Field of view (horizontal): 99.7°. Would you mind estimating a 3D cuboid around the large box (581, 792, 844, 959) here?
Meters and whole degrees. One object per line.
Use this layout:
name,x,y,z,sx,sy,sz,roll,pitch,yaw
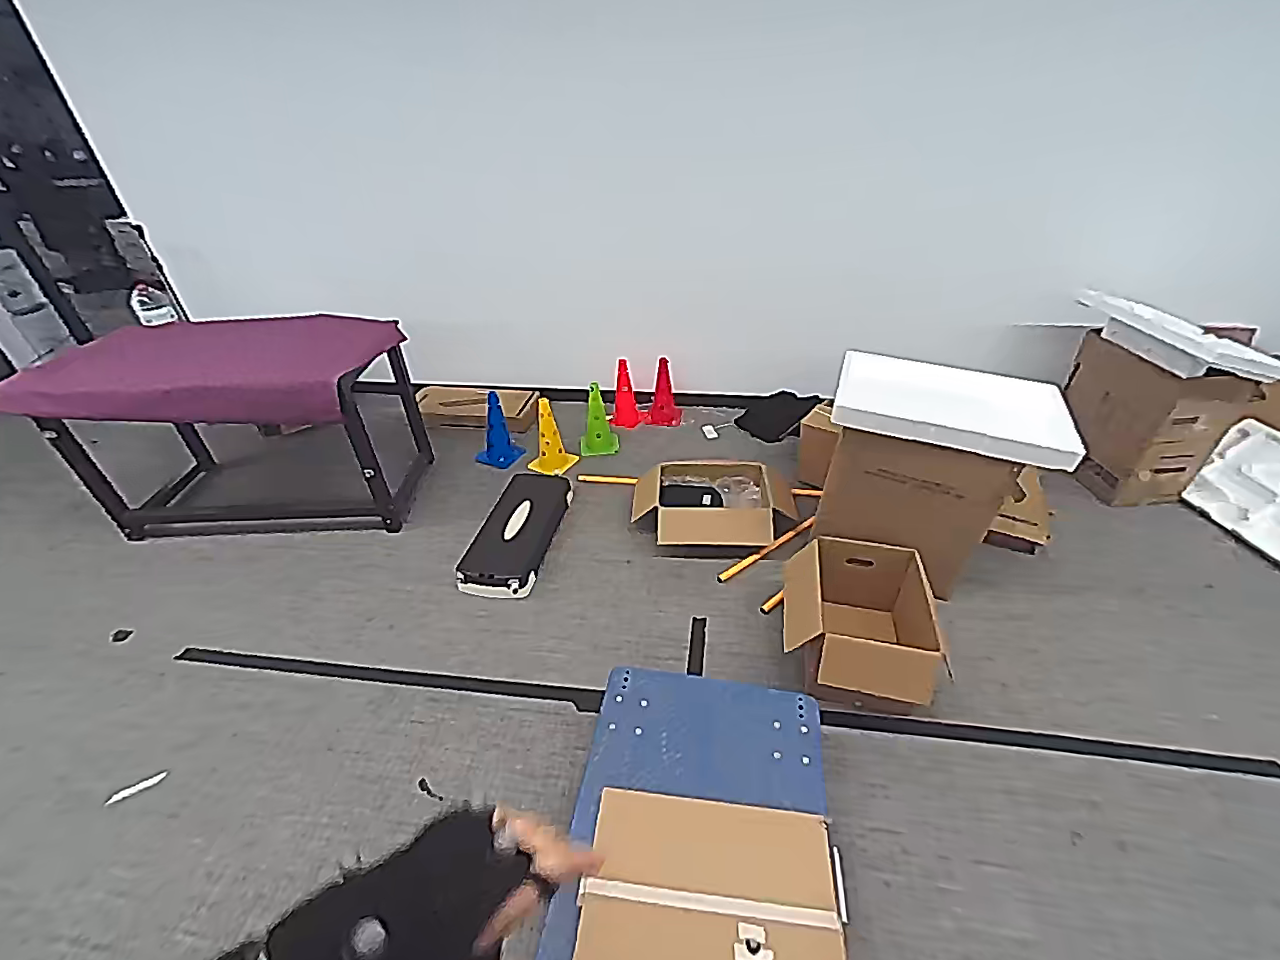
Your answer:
large box,0.116,0.804,0.957,0.408,0.320,0.320,4,37,6
